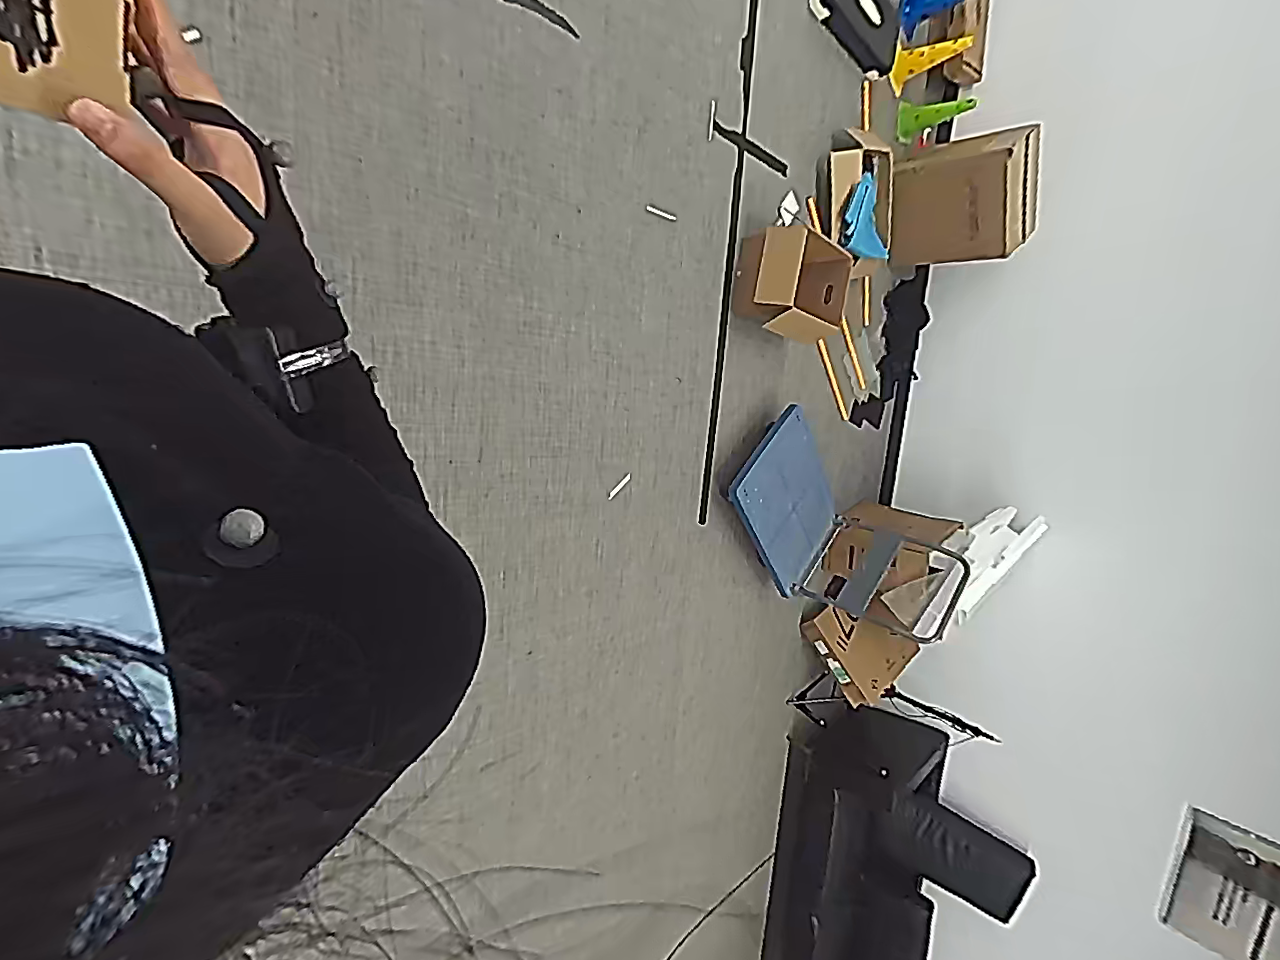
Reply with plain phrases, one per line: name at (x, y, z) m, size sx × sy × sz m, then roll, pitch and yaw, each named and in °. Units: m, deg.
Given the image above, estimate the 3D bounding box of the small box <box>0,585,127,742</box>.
small box at (-0.992, 0.300, 0.917) m, size 0.168 × 0.176 × 0.179 m, roll -8°, pitch 106°, yaw -43°

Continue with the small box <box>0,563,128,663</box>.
small box at (-1.104, 0.269, 1.031) m, size 0.168 × 0.176 × 0.179 m, roll -10°, pitch 108°, yaw -42°
